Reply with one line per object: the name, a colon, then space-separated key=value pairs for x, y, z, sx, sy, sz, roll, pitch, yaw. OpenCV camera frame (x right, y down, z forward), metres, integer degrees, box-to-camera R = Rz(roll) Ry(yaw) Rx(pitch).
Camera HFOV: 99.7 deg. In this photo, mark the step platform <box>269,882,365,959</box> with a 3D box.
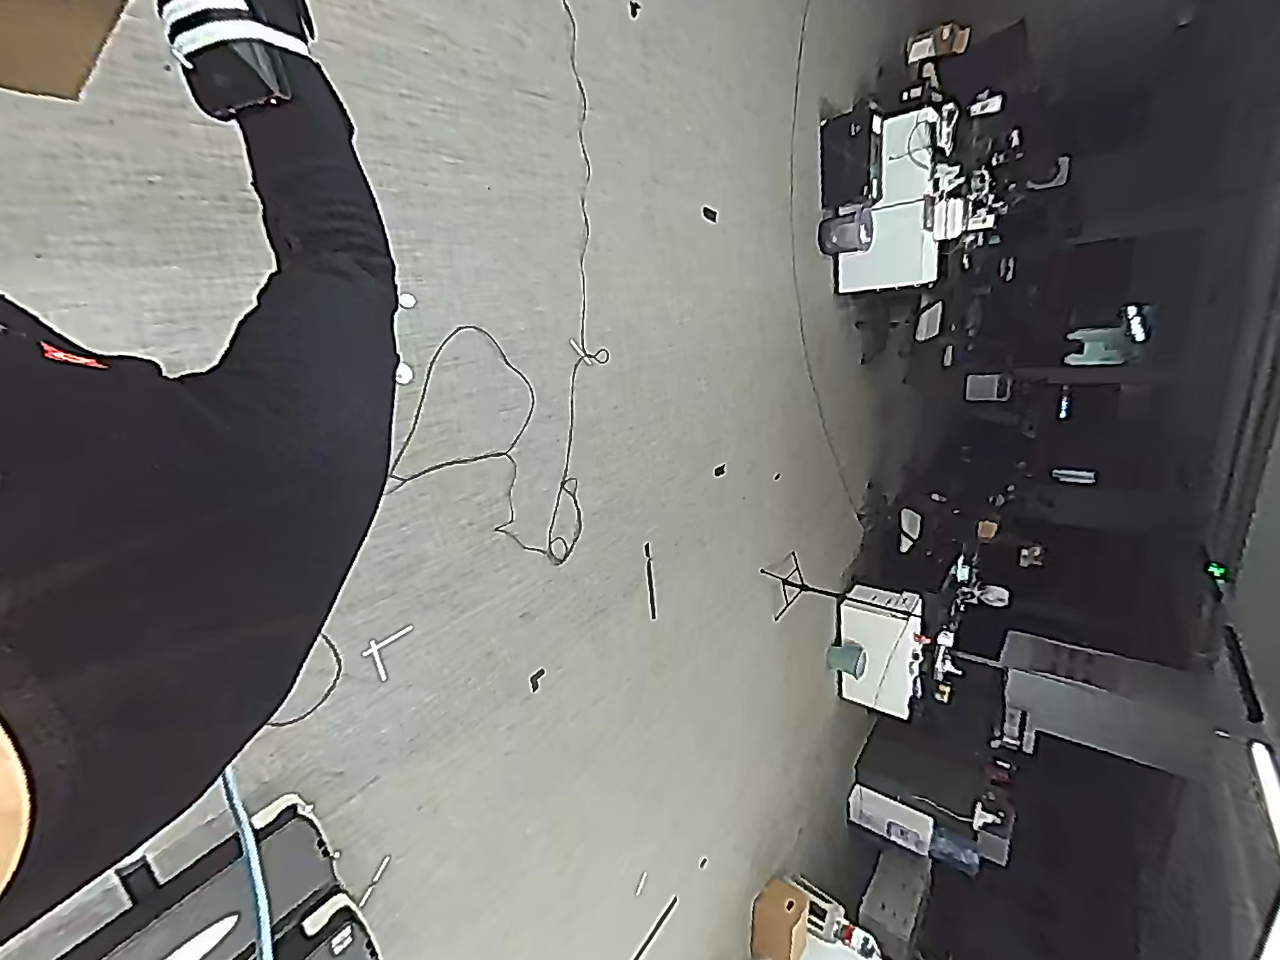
step platform: x=-1.018 y=1.356 z=1.271 sx=0.684 sy=0.204 sz=0.286 roll=-29 pitch=118 yaw=-44
